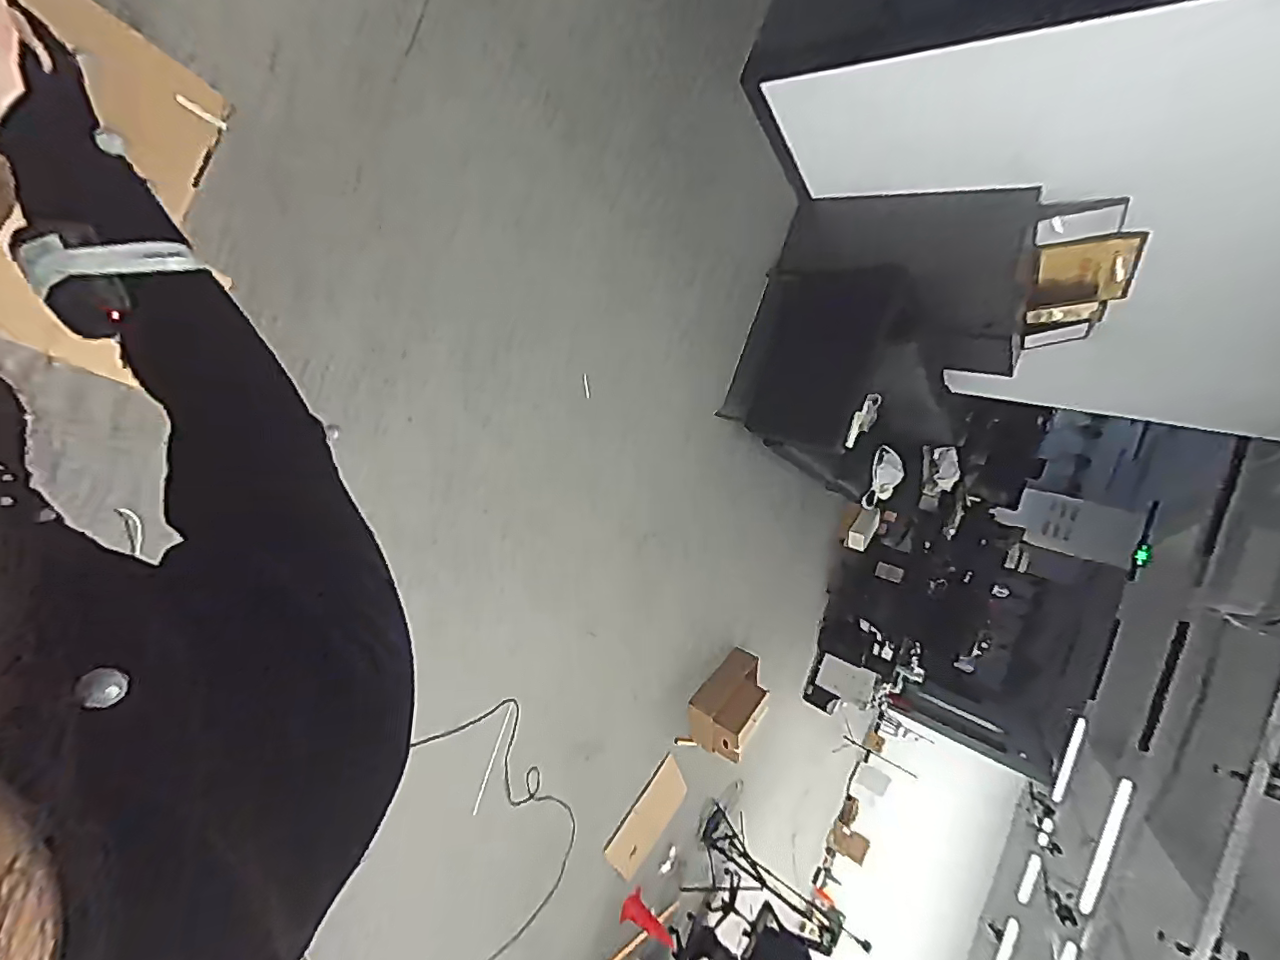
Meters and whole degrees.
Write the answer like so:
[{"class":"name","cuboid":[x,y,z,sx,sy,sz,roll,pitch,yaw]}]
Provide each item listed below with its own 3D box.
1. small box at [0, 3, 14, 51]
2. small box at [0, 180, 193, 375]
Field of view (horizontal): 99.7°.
[{"class":"small box","cuboid":[-0.706,-0.389,0.467,0.168,0.176,0.179,27,83,-53]},{"class":"small box","cuboid":[-0.756,-0.263,0.725,0.168,0.176,0.179,30,78,-53]}]
